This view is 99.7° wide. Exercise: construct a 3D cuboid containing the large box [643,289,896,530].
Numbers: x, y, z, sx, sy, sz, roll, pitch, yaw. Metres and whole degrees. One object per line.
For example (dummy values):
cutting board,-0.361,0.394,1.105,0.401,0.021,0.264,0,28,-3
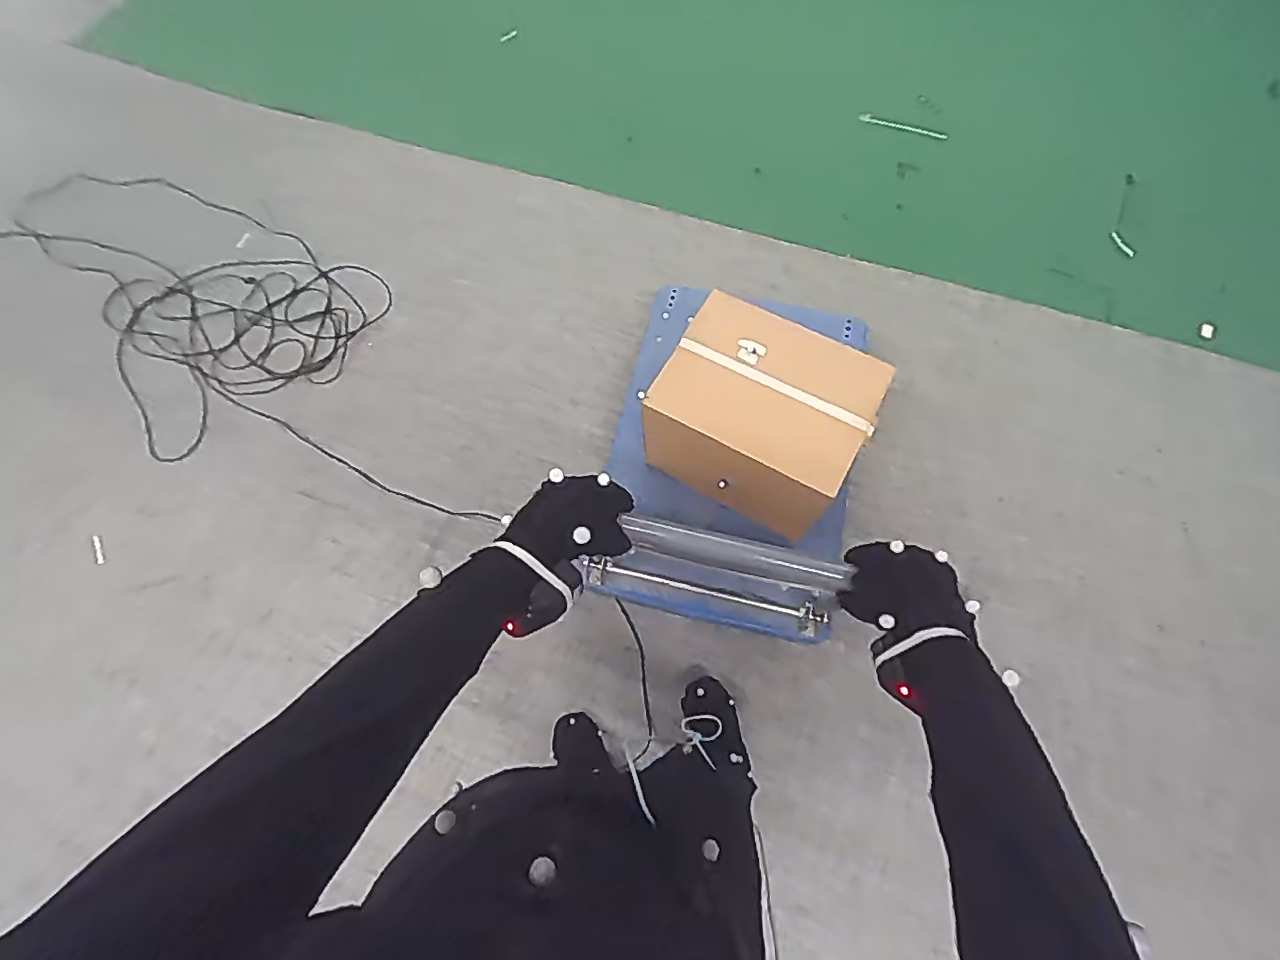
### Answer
large box,0.263,-0.137,1.183,0.408,0.320,0.320,28,74,13
